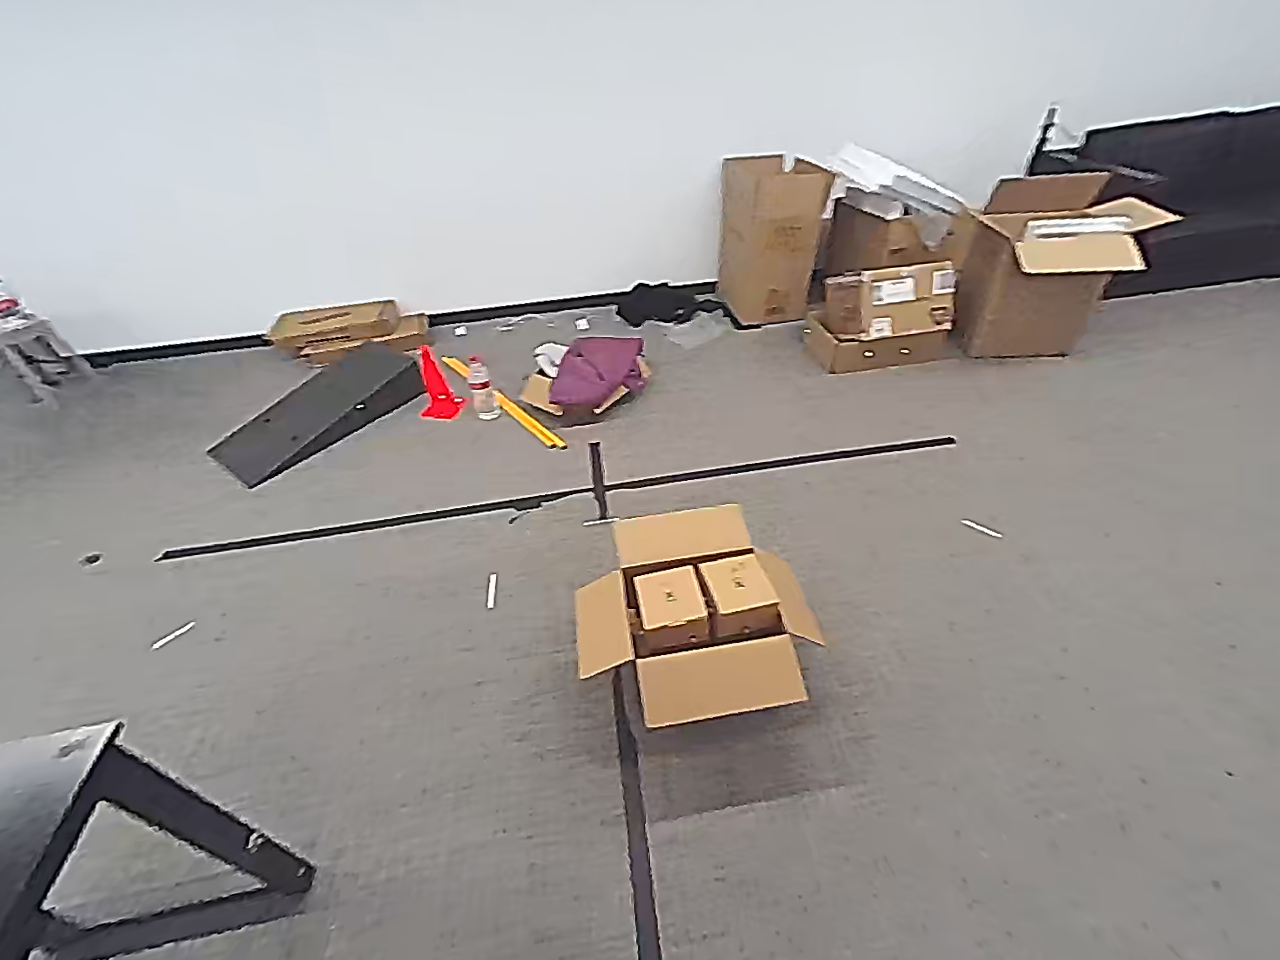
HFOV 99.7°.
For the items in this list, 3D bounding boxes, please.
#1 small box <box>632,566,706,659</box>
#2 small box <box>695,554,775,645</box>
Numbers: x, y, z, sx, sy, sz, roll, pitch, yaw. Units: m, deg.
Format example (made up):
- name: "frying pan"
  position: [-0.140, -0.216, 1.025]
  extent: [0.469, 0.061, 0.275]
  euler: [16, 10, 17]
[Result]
- name: "small box"
  position: [0.080, 0.369, 1.482]
  extent: [0.168, 0.176, 0.179]
  euler: [-12, 40, -4]
- name: "small box"
  position: [0.256, 0.337, 1.502]
  extent: [0.168, 0.176, 0.179]
  euler: [-9, 41, -12]
